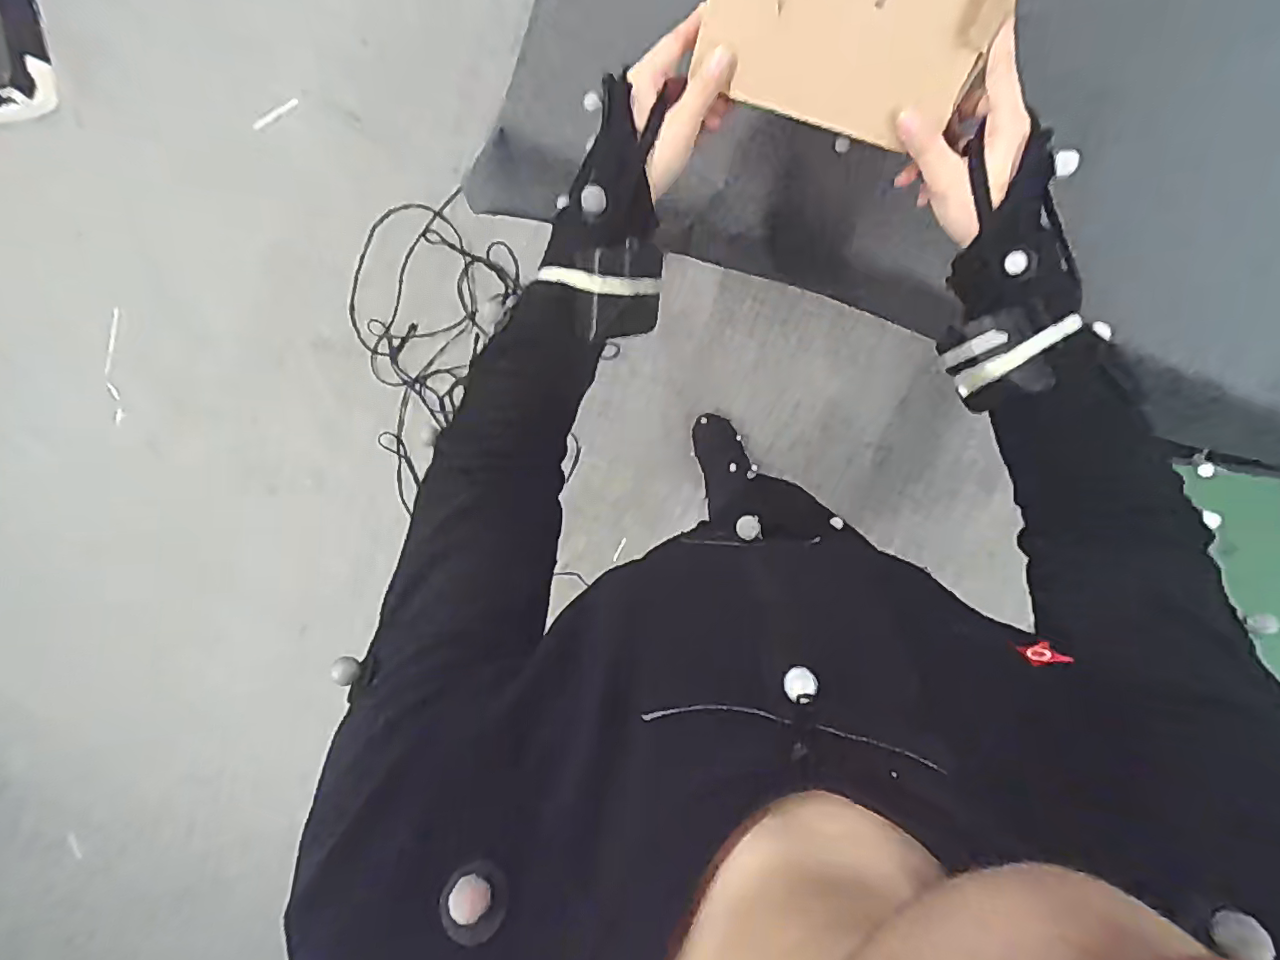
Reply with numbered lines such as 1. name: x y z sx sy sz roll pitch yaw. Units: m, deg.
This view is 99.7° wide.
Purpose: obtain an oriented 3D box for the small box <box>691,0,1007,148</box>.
1. small box: 0.144 -0.356 0.377 0.179 0.176 0.168 15 127 -3
